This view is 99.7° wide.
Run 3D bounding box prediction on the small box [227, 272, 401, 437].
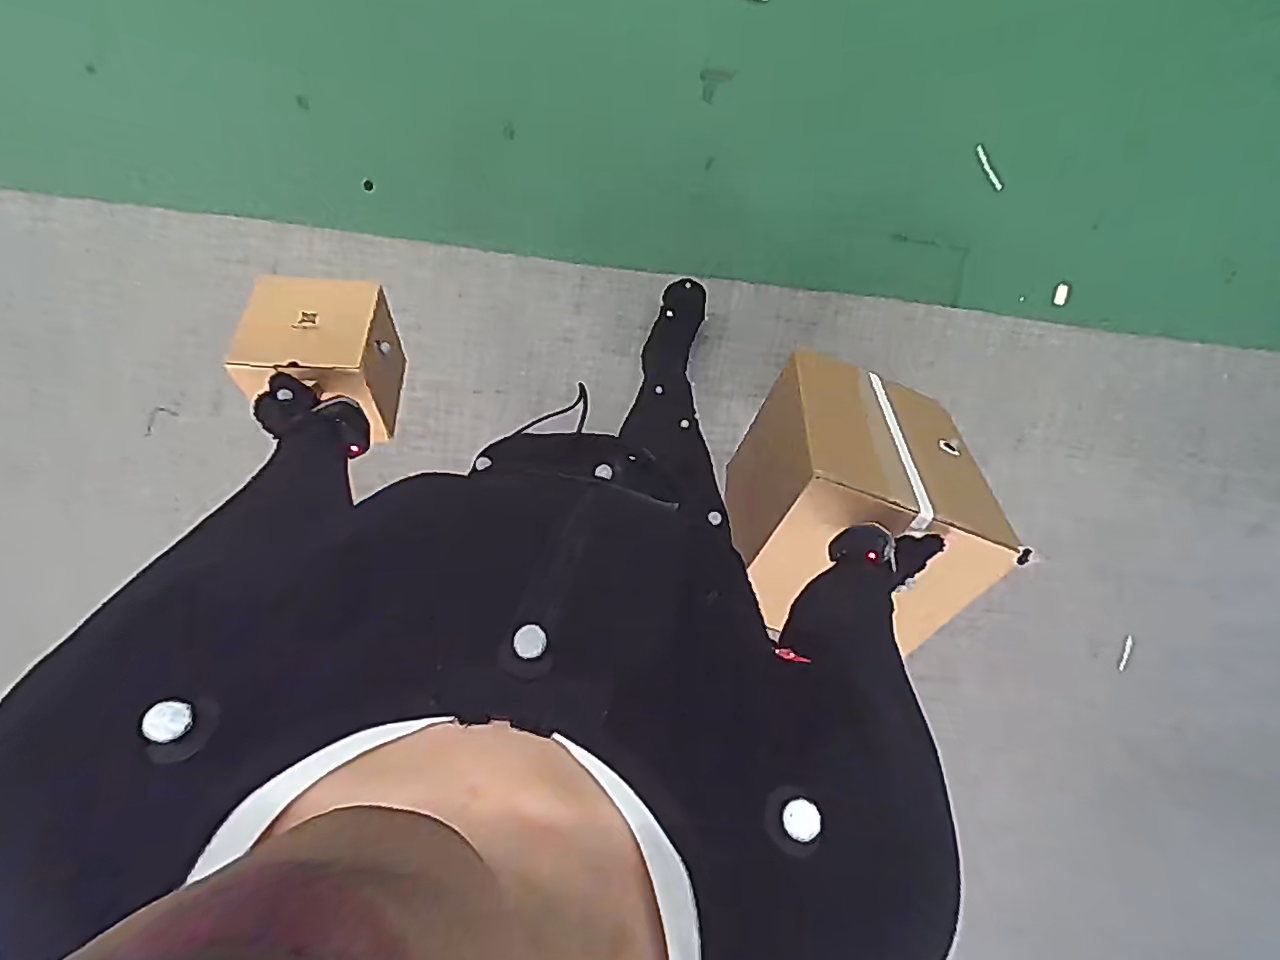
[{"bbox_3d":[-0.472,-0.184,0.817,0.168,0.176,0.179,-1,61,-10],"label":"small box"}]
